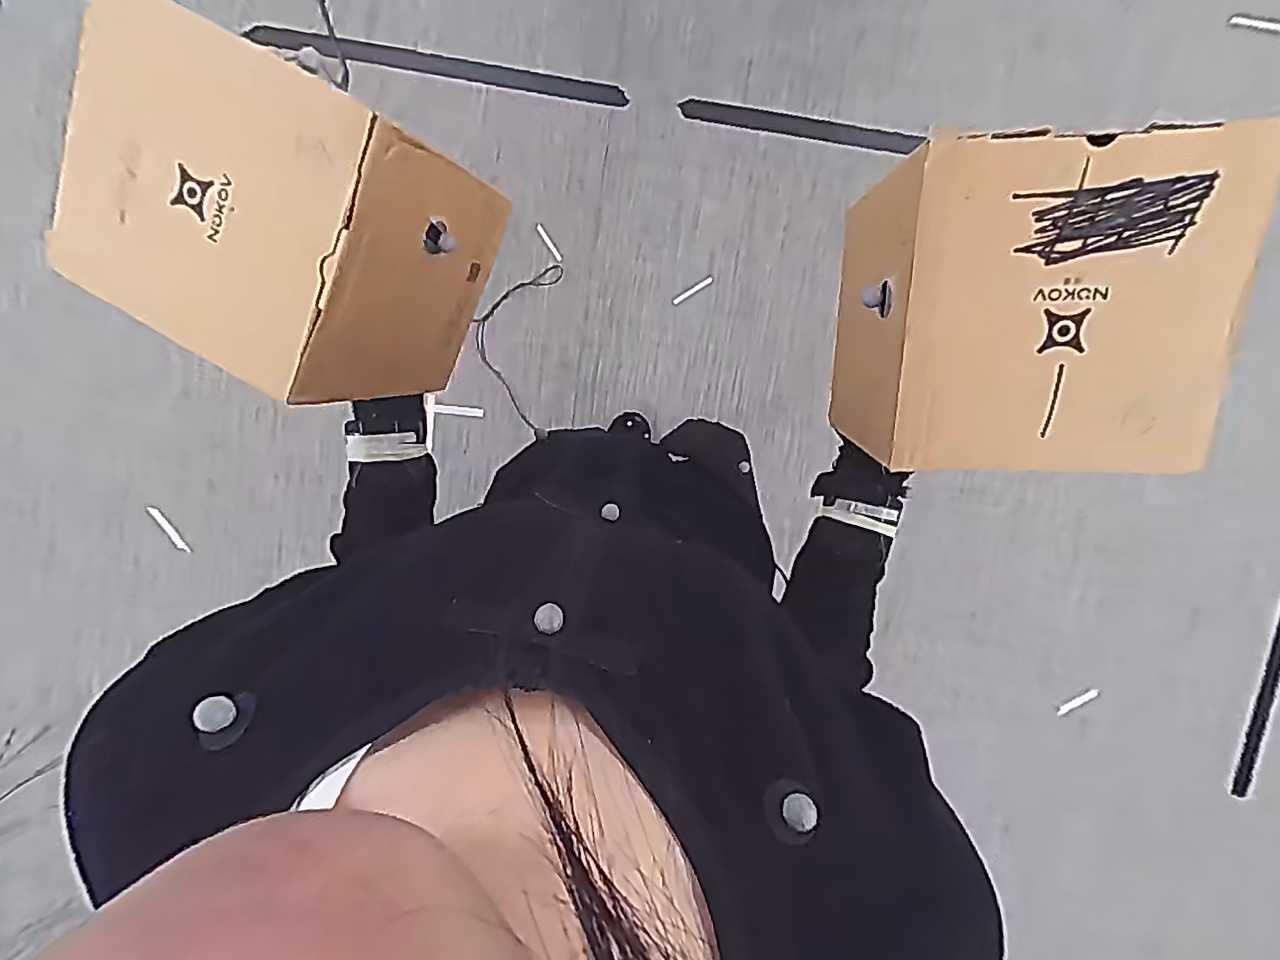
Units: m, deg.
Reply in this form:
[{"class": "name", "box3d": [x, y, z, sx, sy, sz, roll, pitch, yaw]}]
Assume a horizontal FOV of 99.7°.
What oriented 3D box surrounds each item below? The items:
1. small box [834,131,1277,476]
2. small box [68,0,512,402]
[{"class": "small box", "box3d": [0.239, -0.108, 0.369, 0.168, 0.176, 0.179, 1, 105, 7]}, {"class": "small box", "box3d": [-0.217, -0.171, 0.374, 0.179, 0.176, 0.168, 29, 105, 5]}]
